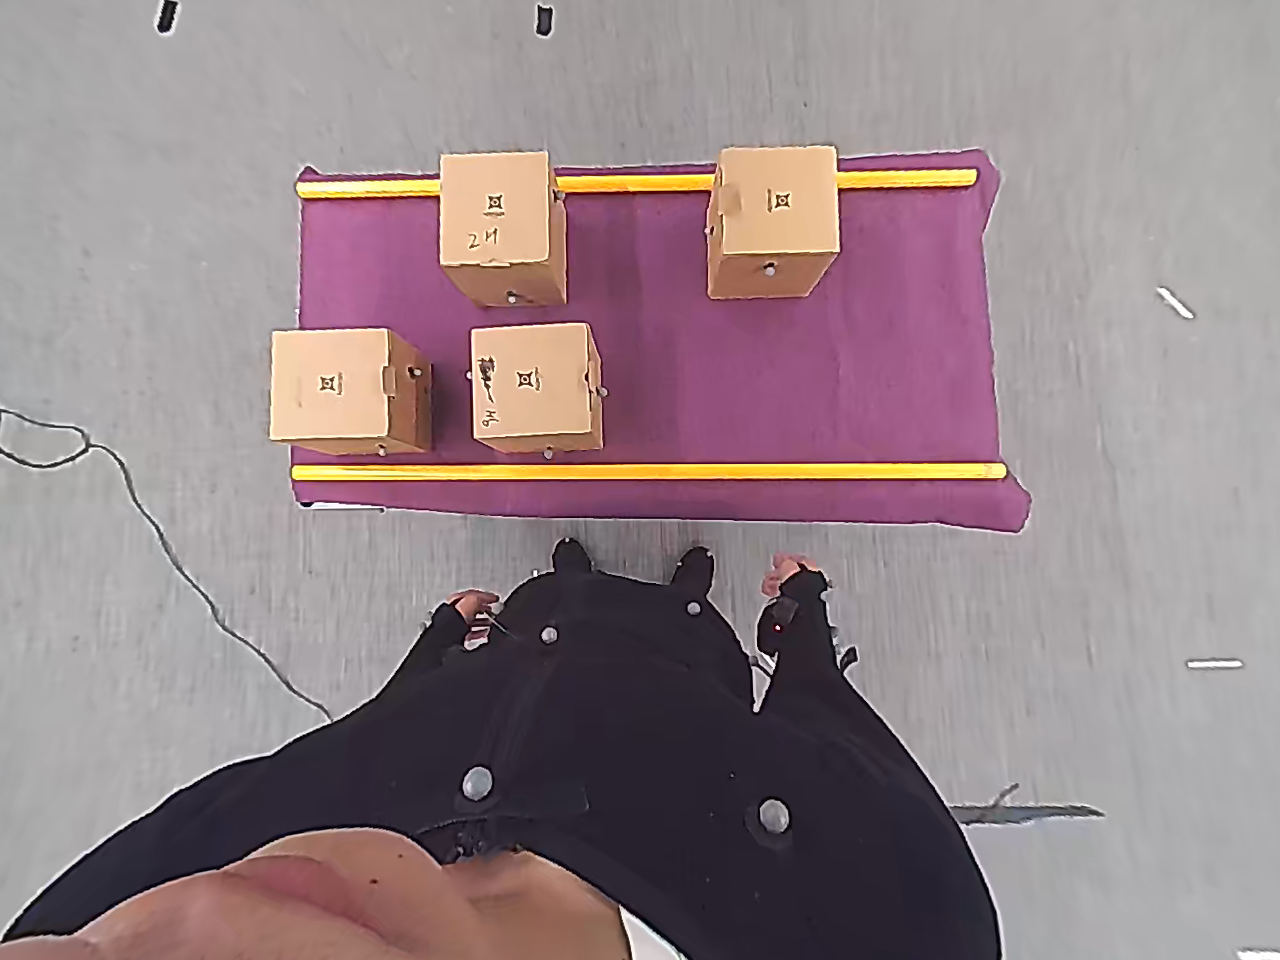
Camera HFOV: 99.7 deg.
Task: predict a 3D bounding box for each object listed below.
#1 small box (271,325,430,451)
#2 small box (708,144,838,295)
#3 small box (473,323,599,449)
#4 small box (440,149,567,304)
[{"bbox_3d":[-0.452,-0.141,0.871,0.179,0.176,0.168,-2,85,-1],"label":"small box"},{"bbox_3d":[0.208,-0.413,0.881,0.179,0.176,0.168,-1,87,2],"label":"small box"},{"bbox_3d":[-0.157,-0.143,0.867,0.179,0.176,0.168,-2,85,1],"label":"small box"},{"bbox_3d":[-0.215,-0.408,0.889,0.168,0.176,0.179,-1,87,2],"label":"small box"}]
